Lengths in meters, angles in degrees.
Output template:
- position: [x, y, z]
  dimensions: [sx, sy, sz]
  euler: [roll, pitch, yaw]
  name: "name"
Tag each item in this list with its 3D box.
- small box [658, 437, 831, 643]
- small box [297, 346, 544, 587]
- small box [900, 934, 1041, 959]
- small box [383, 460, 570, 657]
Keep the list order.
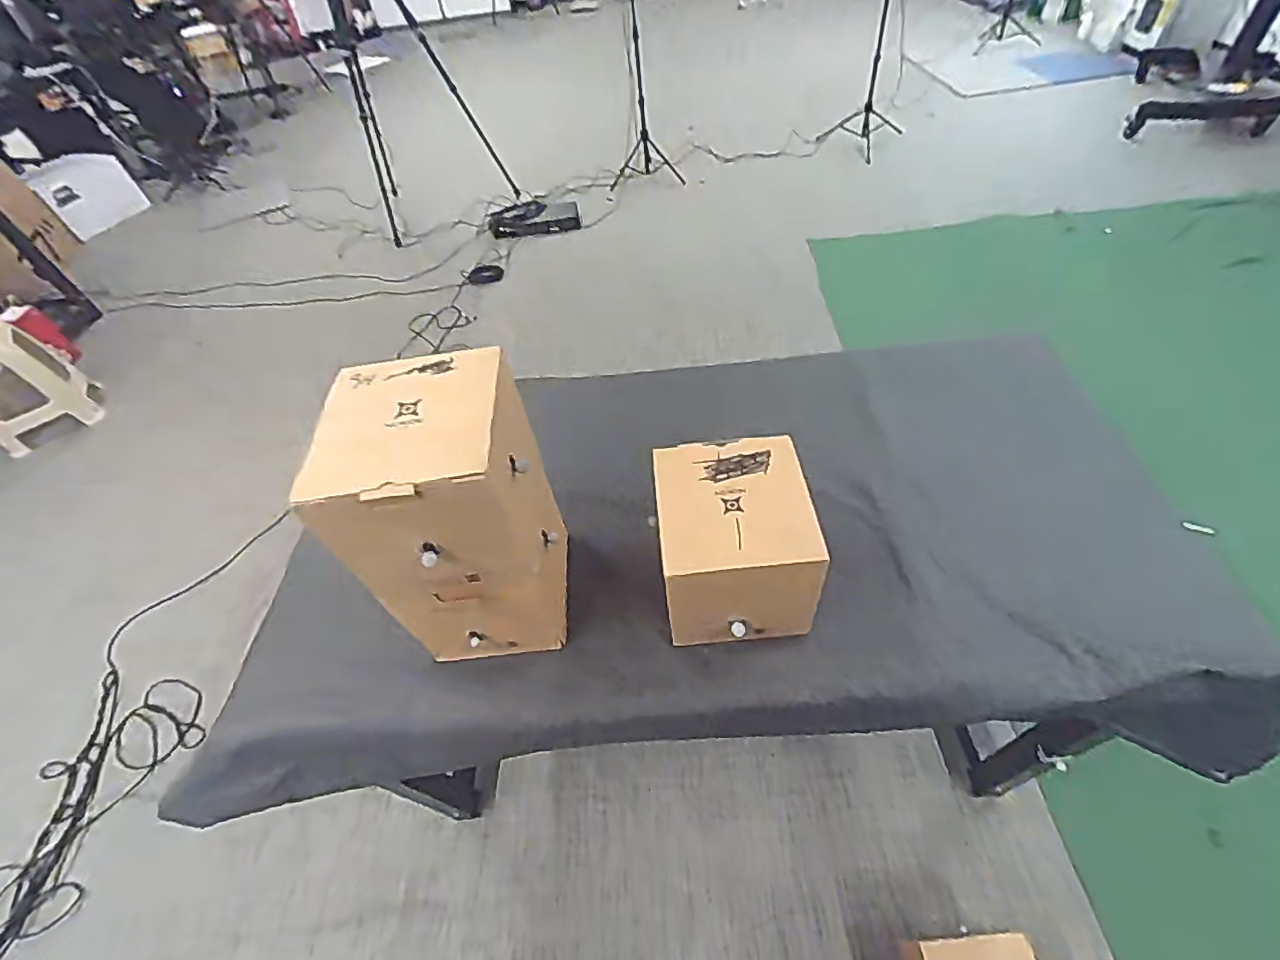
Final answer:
- position: [0.112, 0.074, 0.648]
  dimensions: [0.168, 0.176, 0.179]
  euler: [-6, 49, 3]
  name: "small box"
- position: [-0.197, -0.005, 0.548]
  dimensions: [0.168, 0.176, 0.179]
  euler: [-8, 50, 1]
  name: "small box"
- position: [0.558, 0.854, 0.882]
  dimensions: [0.179, 0.176, 0.168]
  euler: [-8, 48, 3]
  name: "small box"
- position: [-0.185, 0.099, 0.674]
  dimensions: [0.168, 0.176, 0.179]
  euler: [-7, 50, 2]
  name: "small box"
